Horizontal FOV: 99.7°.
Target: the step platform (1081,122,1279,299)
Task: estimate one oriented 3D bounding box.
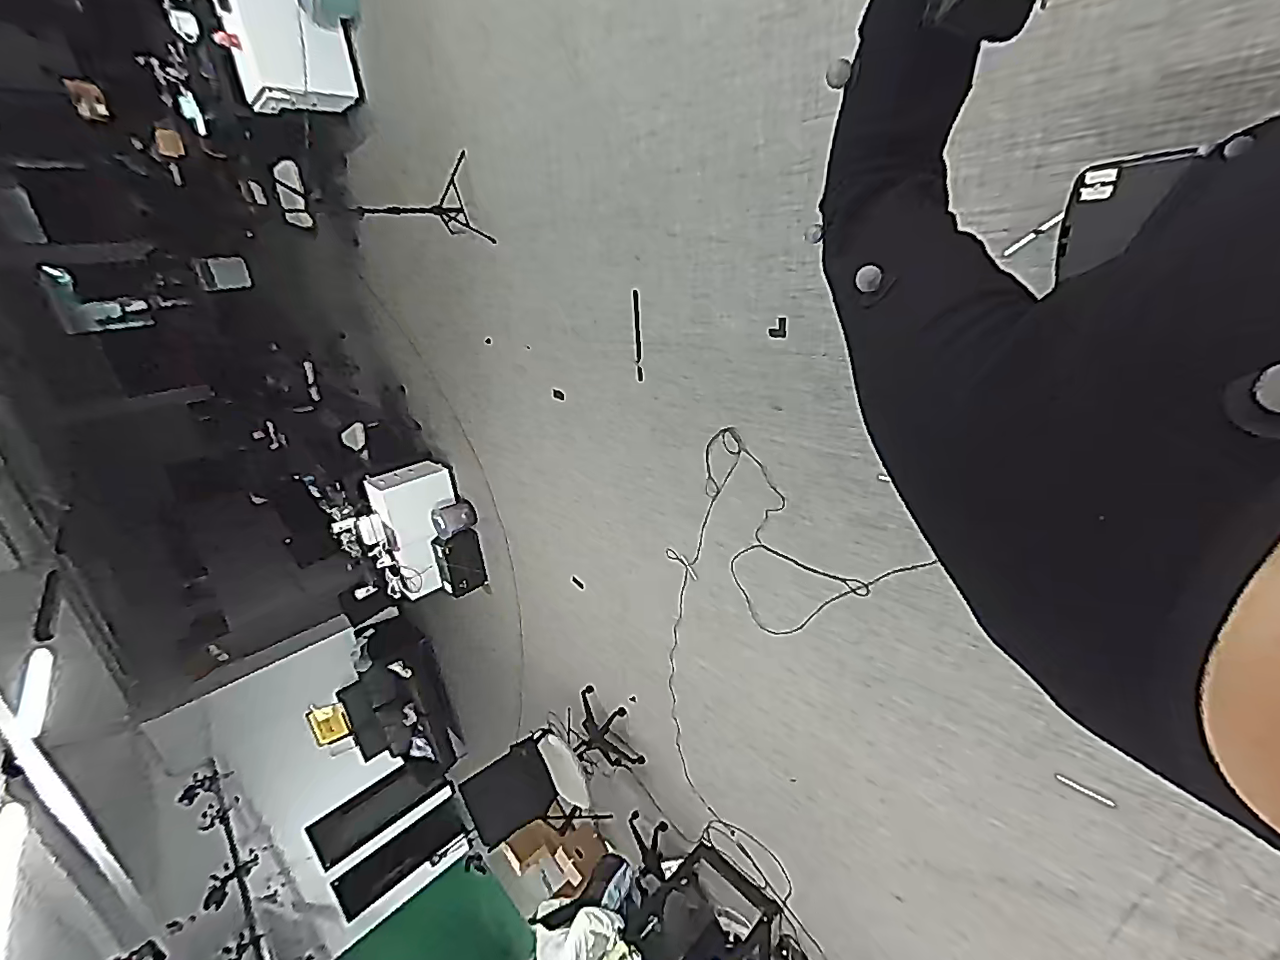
[{"bbox_3d":[1.203,-0.478,0.934,0.684,0.204,0.286,15,120,44],"label":"step platform"}]
